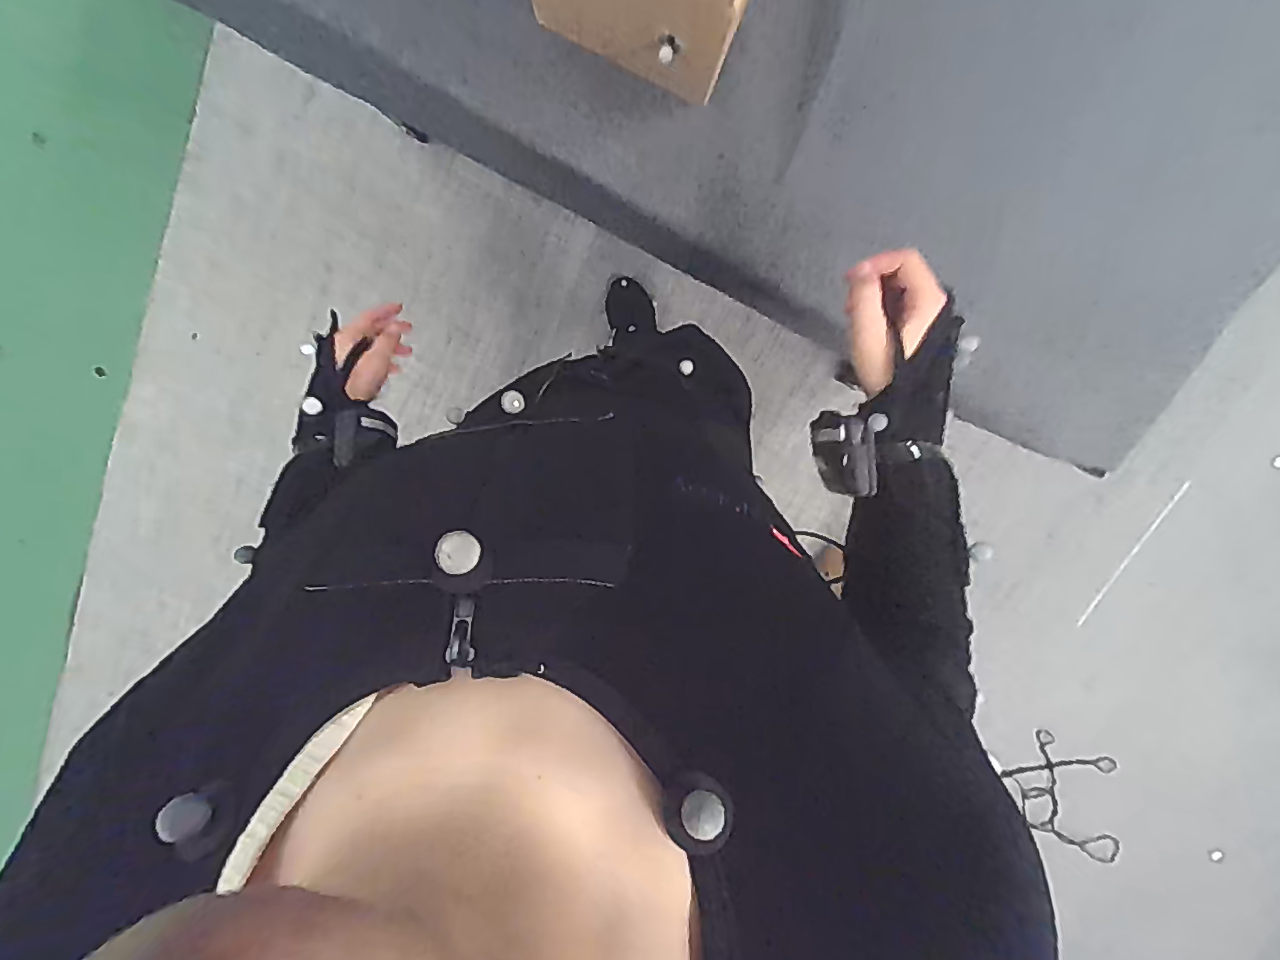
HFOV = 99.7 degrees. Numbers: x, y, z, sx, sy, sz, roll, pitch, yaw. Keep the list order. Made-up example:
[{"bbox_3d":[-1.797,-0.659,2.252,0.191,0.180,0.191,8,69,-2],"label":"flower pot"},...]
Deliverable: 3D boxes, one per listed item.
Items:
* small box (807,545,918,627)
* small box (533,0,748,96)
[{"bbox_3d":[0.566,0.289,1.398,0.179,0.176,0.168,20,104,-7],"label":"small box"},{"bbox_3d":[0.017,-0.440,0.418,0.179,0.176,0.168,22,103,-7],"label":"small box"}]
